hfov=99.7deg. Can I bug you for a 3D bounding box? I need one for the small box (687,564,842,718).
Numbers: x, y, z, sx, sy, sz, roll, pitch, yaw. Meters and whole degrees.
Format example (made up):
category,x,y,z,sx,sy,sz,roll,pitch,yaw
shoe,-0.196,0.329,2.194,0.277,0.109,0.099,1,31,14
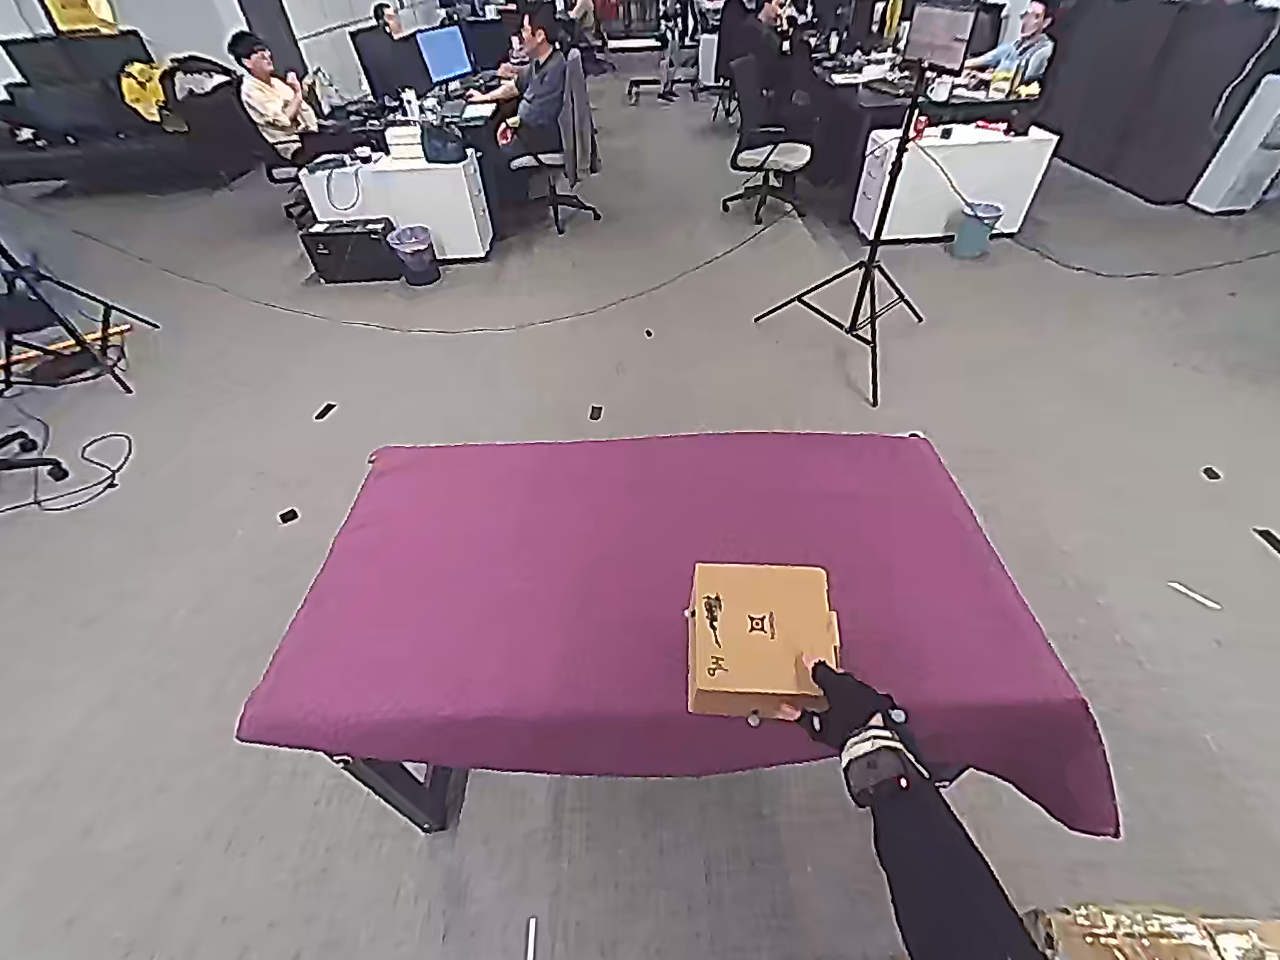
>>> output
category,x,y,z,sx,sy,sz,roll,pitch,yaw
small box,0.160,0.229,0.753,0.179,0.176,0.168,2,57,3
